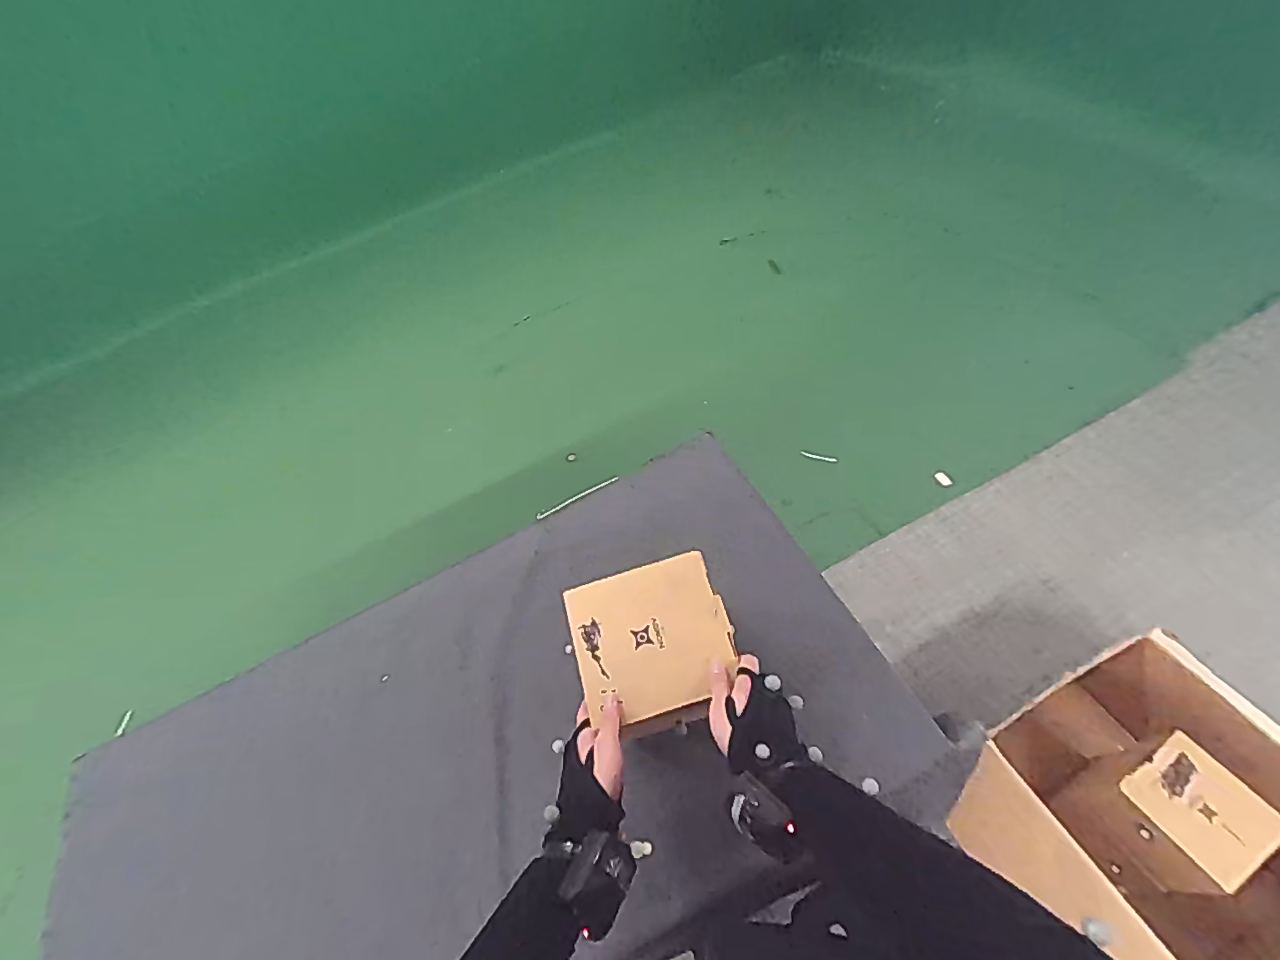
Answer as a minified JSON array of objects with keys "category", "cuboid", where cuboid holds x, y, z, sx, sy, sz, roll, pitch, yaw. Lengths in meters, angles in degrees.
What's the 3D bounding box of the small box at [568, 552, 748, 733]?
[{"category":"small box","cuboid":[0.023,0.215,0.699,0.179,0.176,0.168,-18,63,-2]}]
